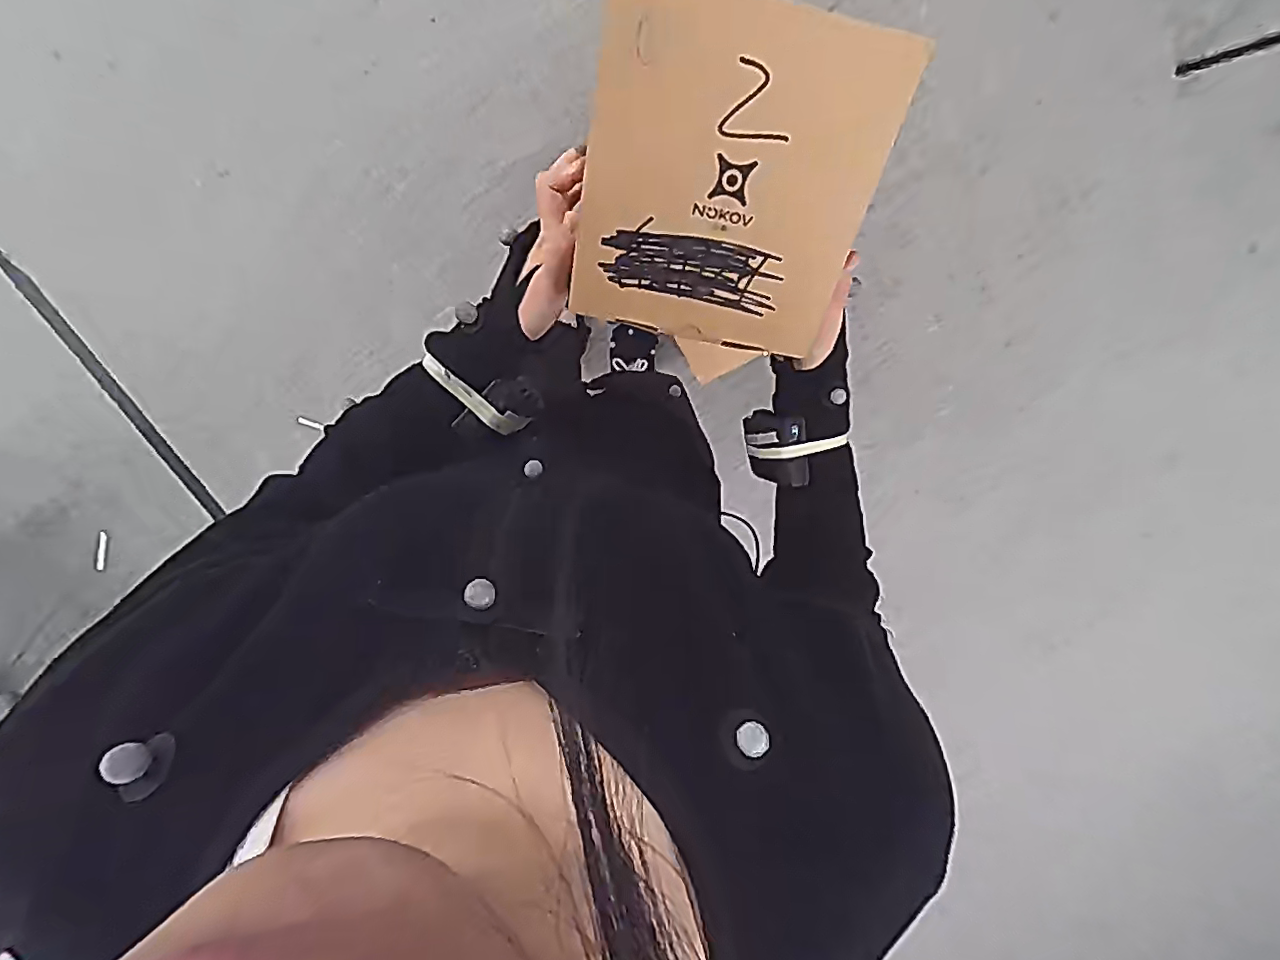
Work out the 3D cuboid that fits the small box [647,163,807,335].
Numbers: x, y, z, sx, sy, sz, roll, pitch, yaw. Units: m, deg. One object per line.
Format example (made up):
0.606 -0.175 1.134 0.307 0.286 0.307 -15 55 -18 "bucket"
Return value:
0.125 -0.342 0.826 0.179 0.176 0.168 -28 104 13 "small box"
